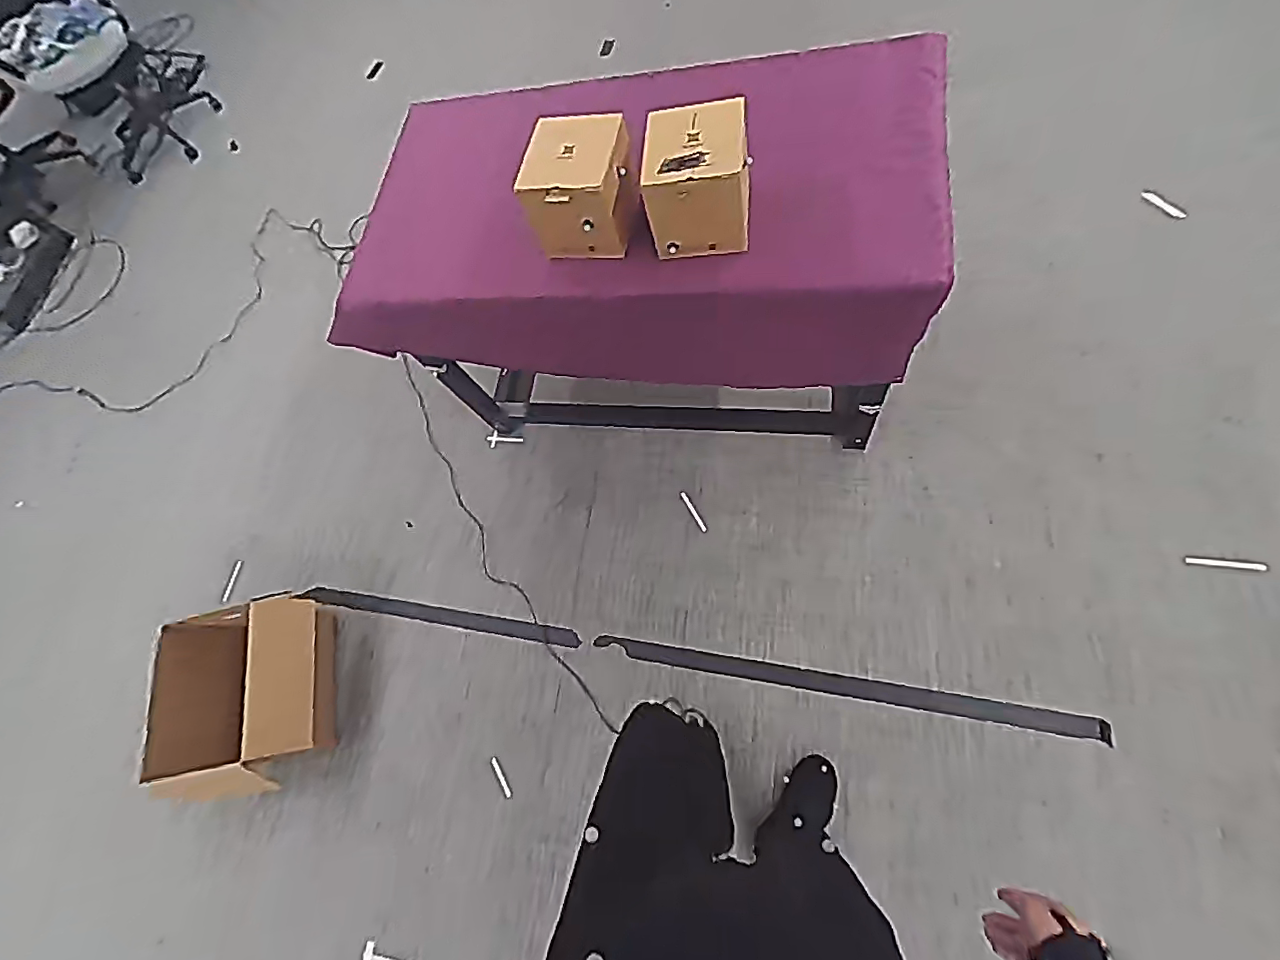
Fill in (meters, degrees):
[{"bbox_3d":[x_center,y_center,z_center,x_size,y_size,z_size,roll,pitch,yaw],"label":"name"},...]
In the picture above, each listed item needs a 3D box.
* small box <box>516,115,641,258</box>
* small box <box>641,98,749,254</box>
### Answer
[{"bbox_3d":[-0.105,-0.544,1.020,0.168,0.176,0.179,8,72,16],"label":"small box"},{"bbox_3d":[0.106,-0.524,0.959,0.168,0.176,0.179,0,69,14],"label":"small box"}]
